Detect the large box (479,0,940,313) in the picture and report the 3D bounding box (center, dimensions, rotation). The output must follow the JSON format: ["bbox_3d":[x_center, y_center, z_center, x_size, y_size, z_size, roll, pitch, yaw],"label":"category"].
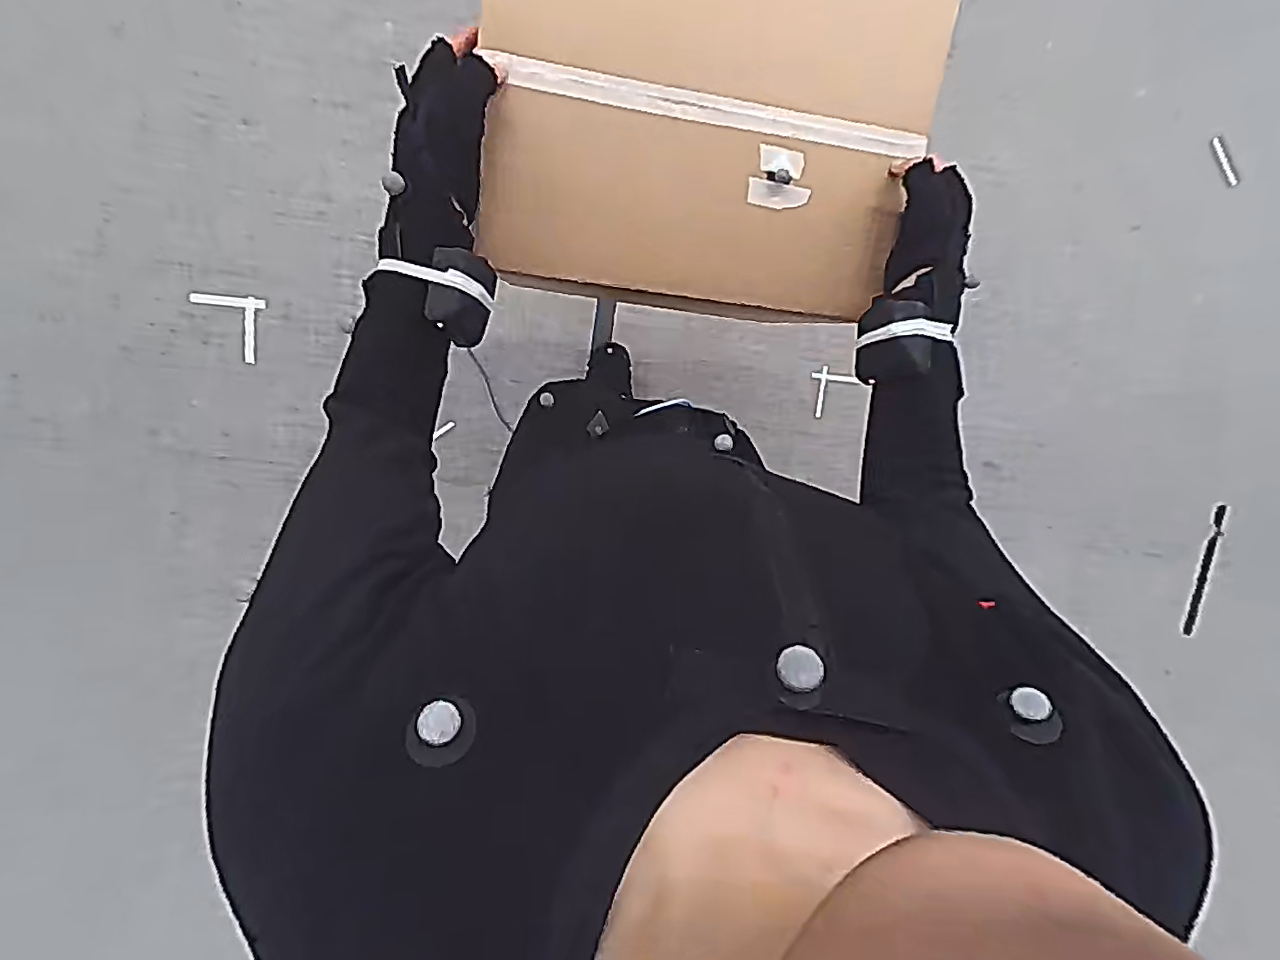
[{"bbox_3d":[0.040,-0.377,0.628,0.408,0.320,0.320,5,107,-10],"label":"large box"}]
